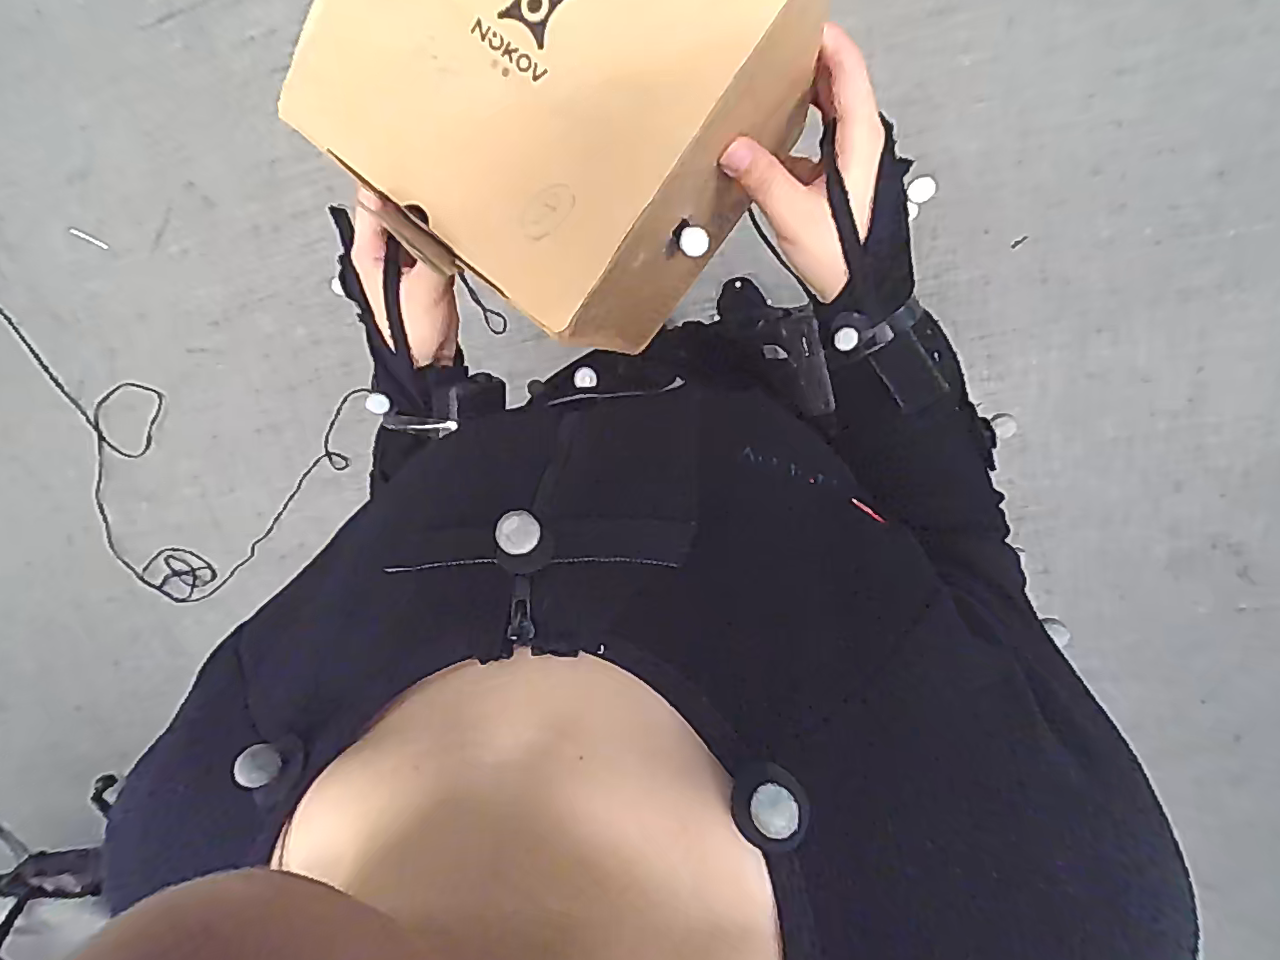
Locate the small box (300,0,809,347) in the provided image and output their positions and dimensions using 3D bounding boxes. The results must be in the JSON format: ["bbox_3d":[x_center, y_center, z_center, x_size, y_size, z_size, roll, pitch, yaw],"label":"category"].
[{"bbox_3d":[-0.028,-0.188,0.297,0.168,0.176,0.179,39,107,2],"label":"small box"}]
